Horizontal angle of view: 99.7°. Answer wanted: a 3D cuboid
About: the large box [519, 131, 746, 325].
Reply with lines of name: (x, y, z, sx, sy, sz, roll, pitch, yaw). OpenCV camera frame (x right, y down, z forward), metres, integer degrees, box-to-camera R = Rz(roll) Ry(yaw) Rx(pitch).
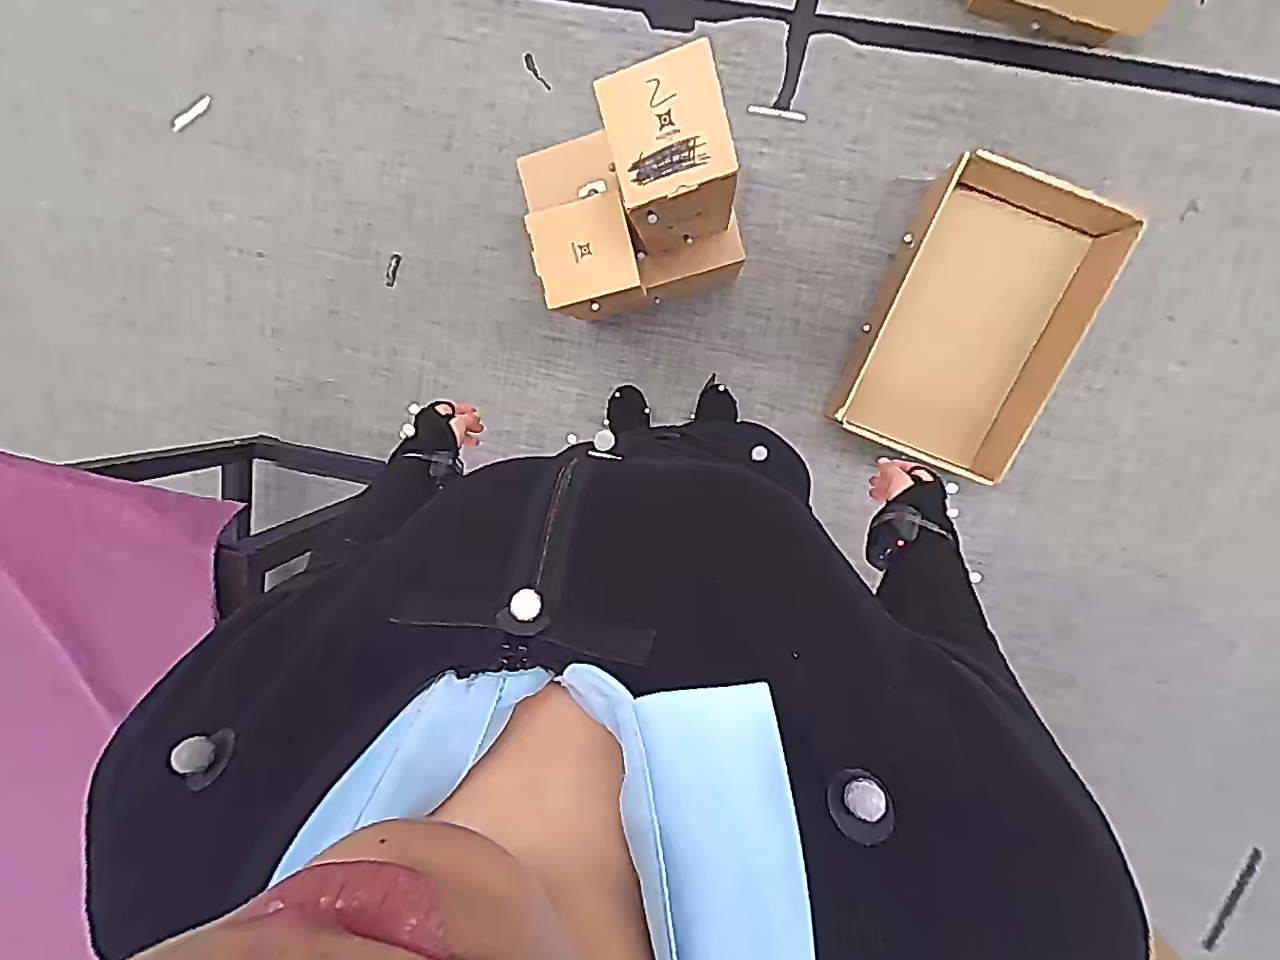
large box: (0.000, -0.568, 1.228, 0.408, 0.320, 0.320, -14, 99, 9)

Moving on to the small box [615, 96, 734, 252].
small box: (0.065, -0.537, 0.975, 0.168, 0.176, 0.179, -15, 100, 10)
